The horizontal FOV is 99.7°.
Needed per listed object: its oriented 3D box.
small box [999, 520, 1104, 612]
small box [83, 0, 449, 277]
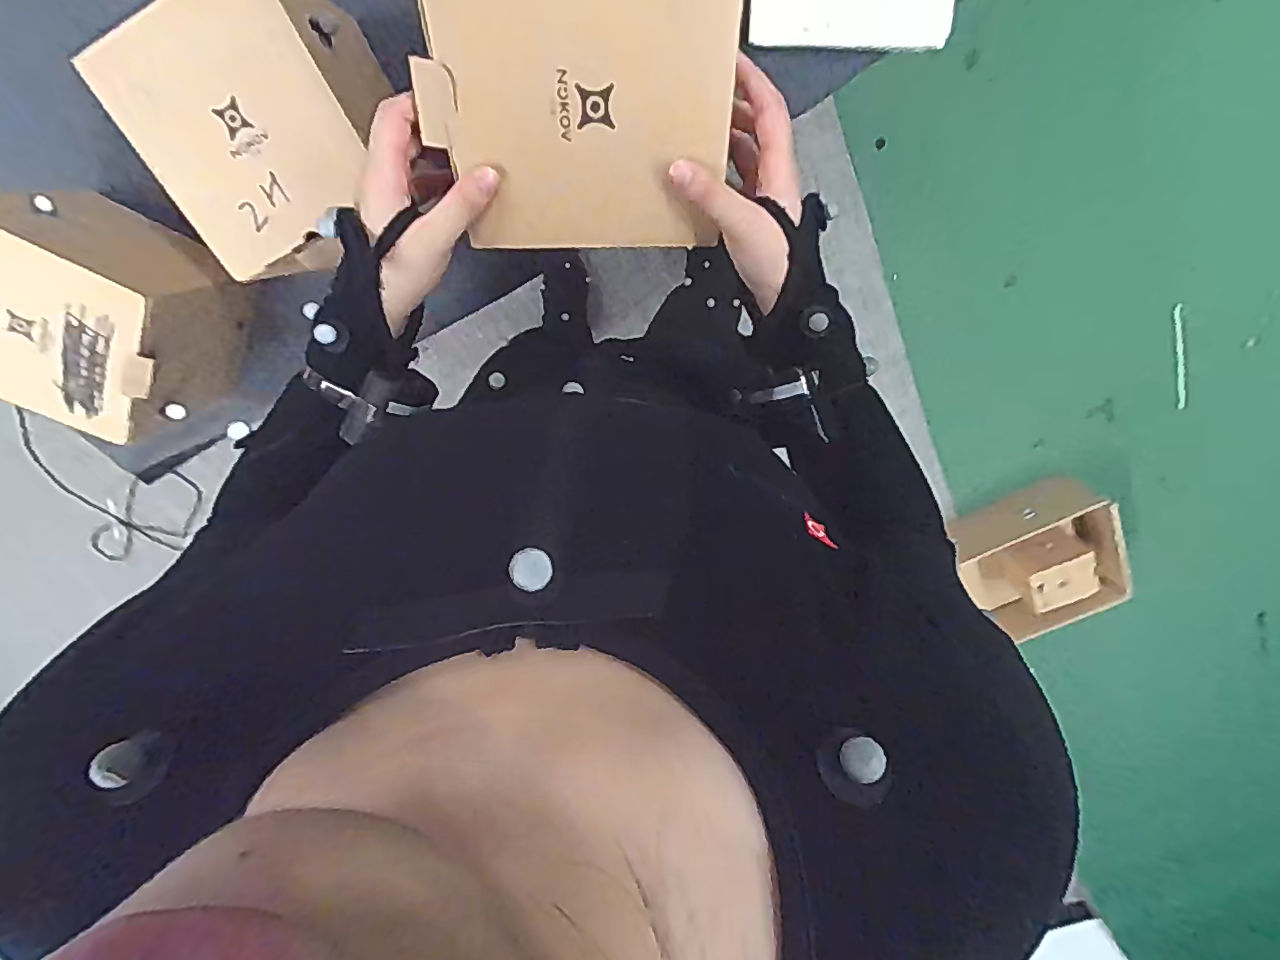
[{"bbox_3d":[1.205,0.247,1.591,0.179,0.176,0.168,-26,116,12],"label":"small box"},{"bbox_3d":[-0.308,-0.310,0.494,0.168,0.176,0.179,-23,115,11],"label":"small box"}]
